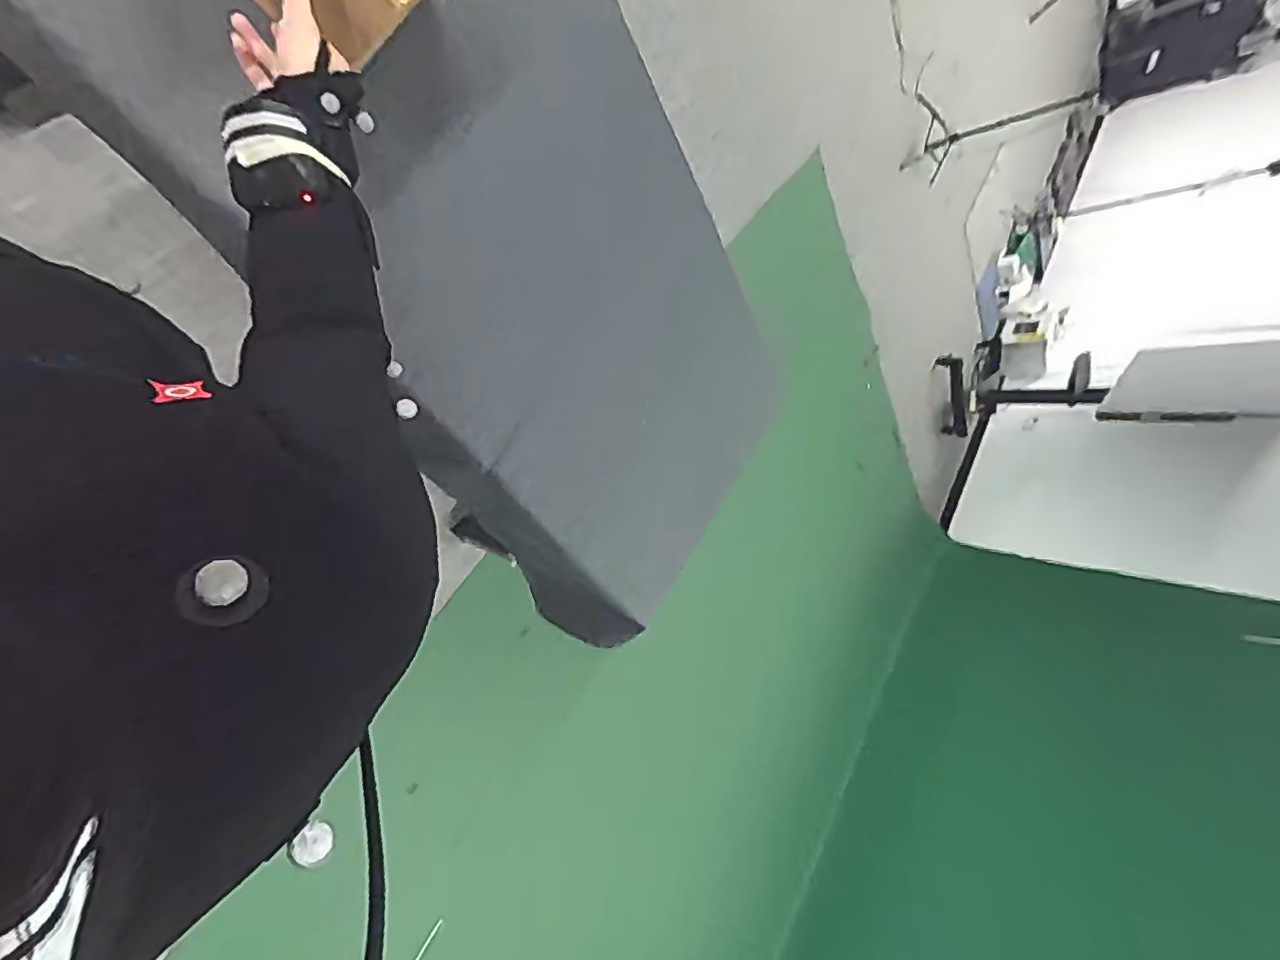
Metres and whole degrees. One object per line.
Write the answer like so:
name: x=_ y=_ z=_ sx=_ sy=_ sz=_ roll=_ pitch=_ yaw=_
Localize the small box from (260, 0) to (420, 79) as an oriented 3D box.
small box: x=-0.263 y=-0.514 z=0.478 sx=0.168 sy=0.176 sz=0.179 roll=40 pitch=69 yaw=-41
